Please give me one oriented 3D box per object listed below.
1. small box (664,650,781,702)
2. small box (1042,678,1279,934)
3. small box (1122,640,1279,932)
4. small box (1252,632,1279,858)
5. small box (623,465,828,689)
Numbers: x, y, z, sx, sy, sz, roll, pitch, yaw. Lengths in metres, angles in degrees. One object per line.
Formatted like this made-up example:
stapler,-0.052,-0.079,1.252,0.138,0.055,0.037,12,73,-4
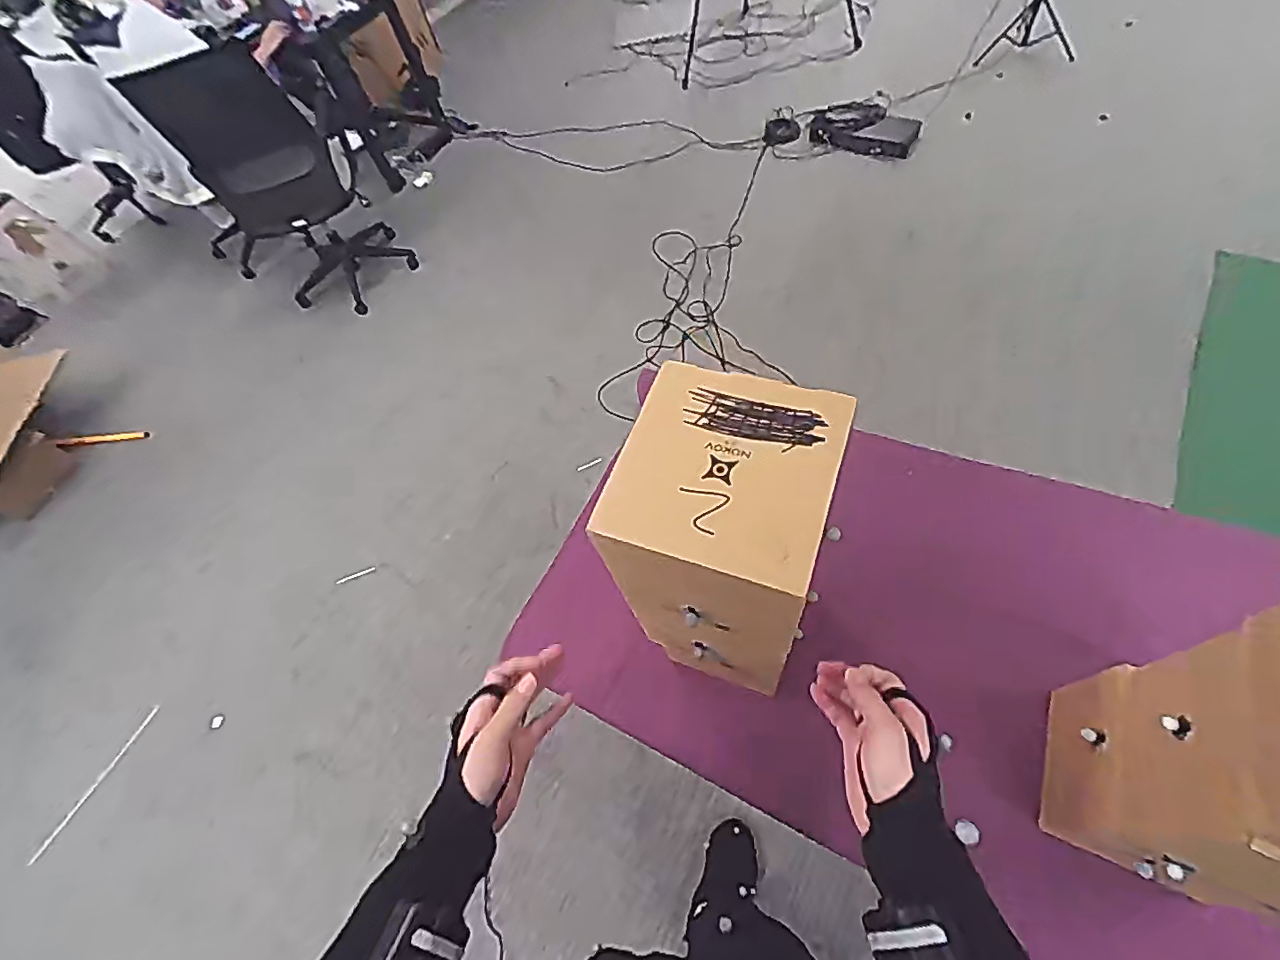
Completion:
small box,0.131,0.186,0.759,0.168,0.176,0.179,15,62,19
small box,0.567,0.347,0.582,0.168,0.176,0.179,18,62,21
small box,0.540,0.266,0.441,0.168,0.176,0.179,21,62,21
small box,0.517,0.173,0.309,0.168,0.176,0.179,21,63,22
small box,0.100,0.115,0.612,0.168,0.176,0.179,16,62,18
